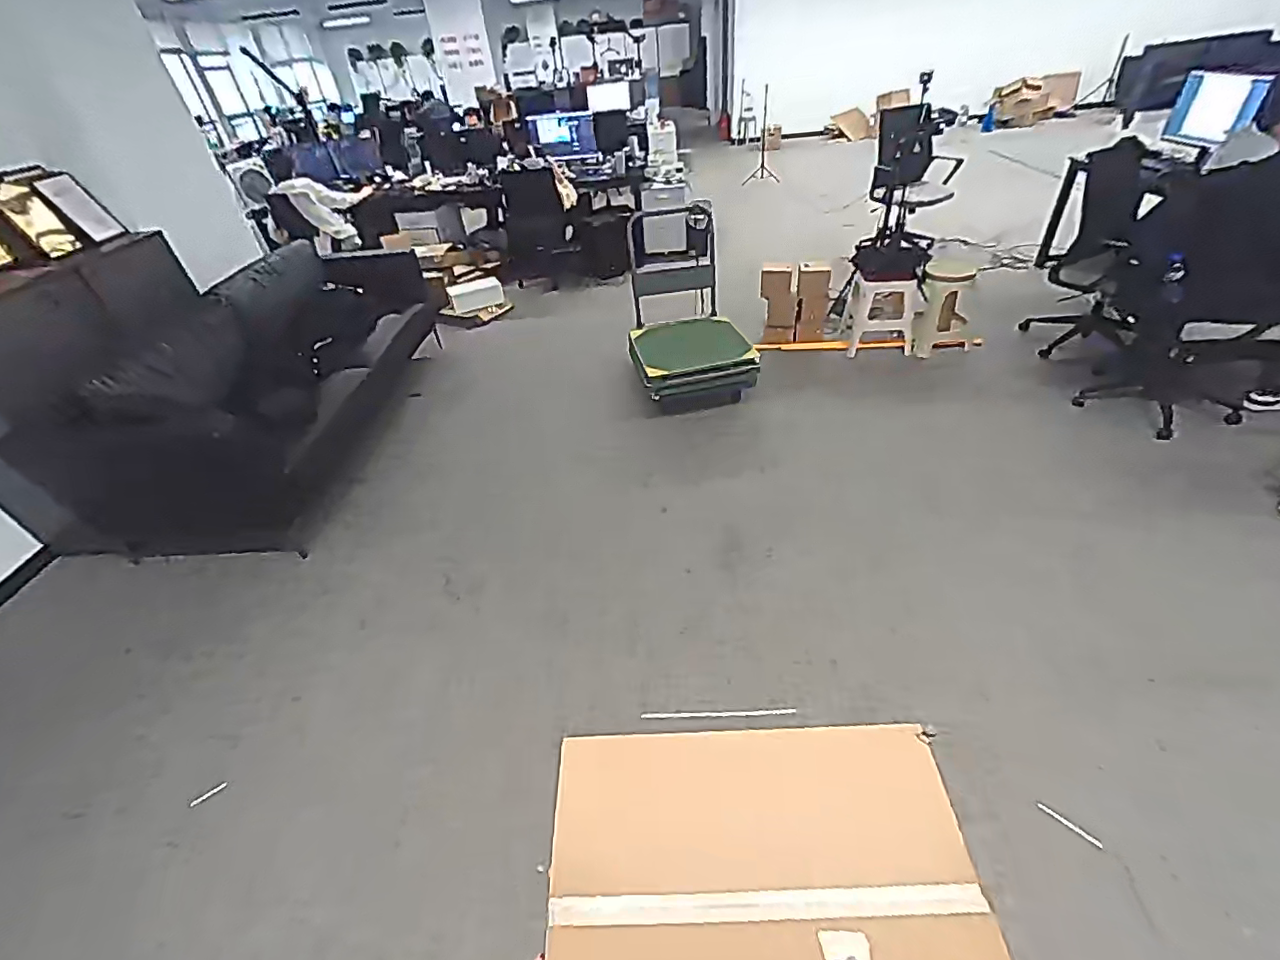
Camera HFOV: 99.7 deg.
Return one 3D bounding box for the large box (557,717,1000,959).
[{"bbox_3d":[0.126,0.499,0.625,0.408,0.320,0.320,-3,47,1],"label":"large box"}]
